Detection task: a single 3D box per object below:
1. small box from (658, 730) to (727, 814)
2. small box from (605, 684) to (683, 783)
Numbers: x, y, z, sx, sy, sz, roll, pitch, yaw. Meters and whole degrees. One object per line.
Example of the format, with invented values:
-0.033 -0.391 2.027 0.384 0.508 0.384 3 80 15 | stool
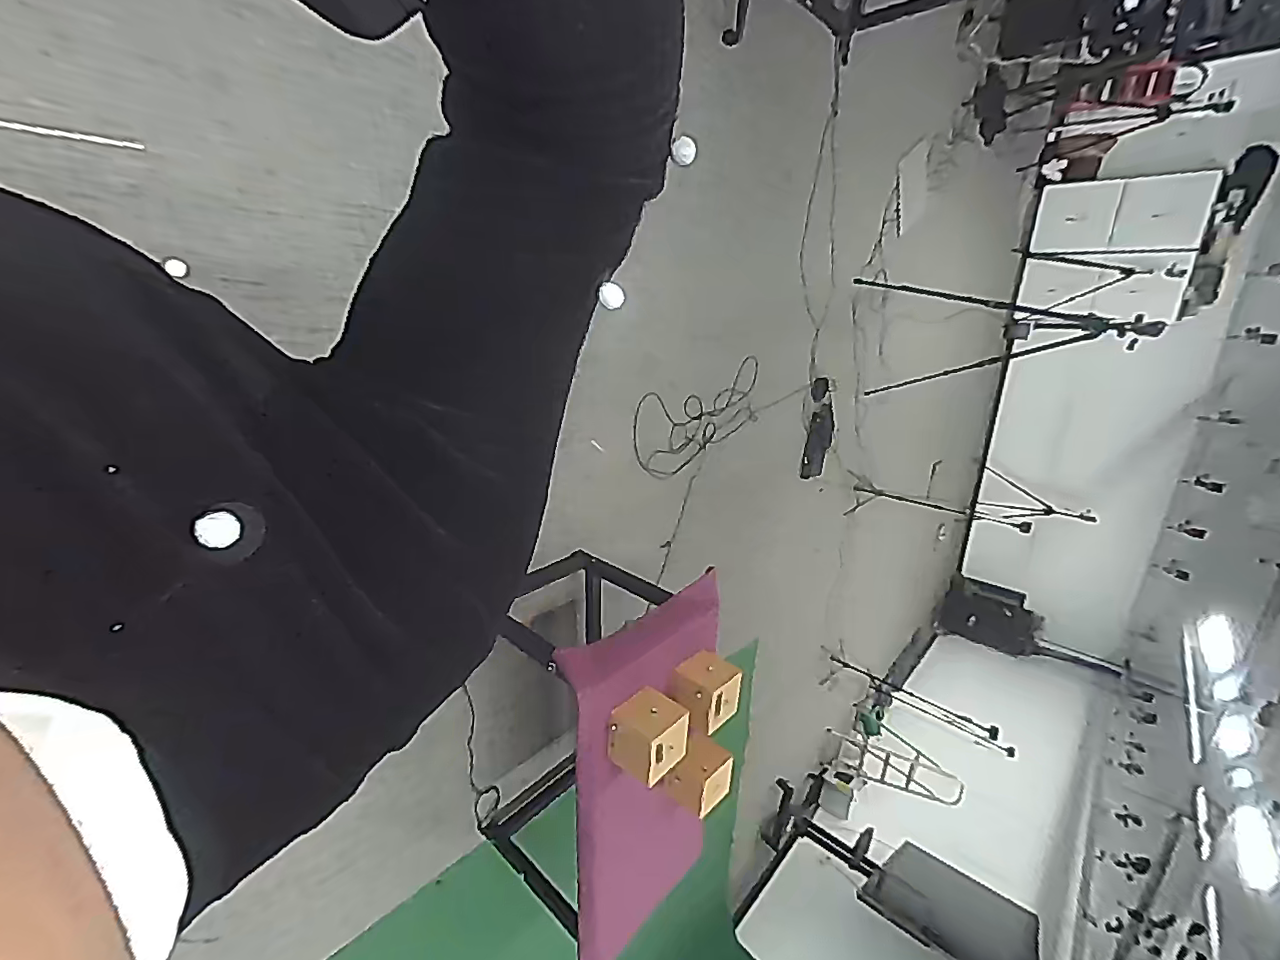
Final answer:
0.190 1.042 1.949 0.179 0.176 0.168 -13 113 -46 | small box
0.009 0.752 1.623 0.179 0.176 0.168 -17 116 -48 | small box
